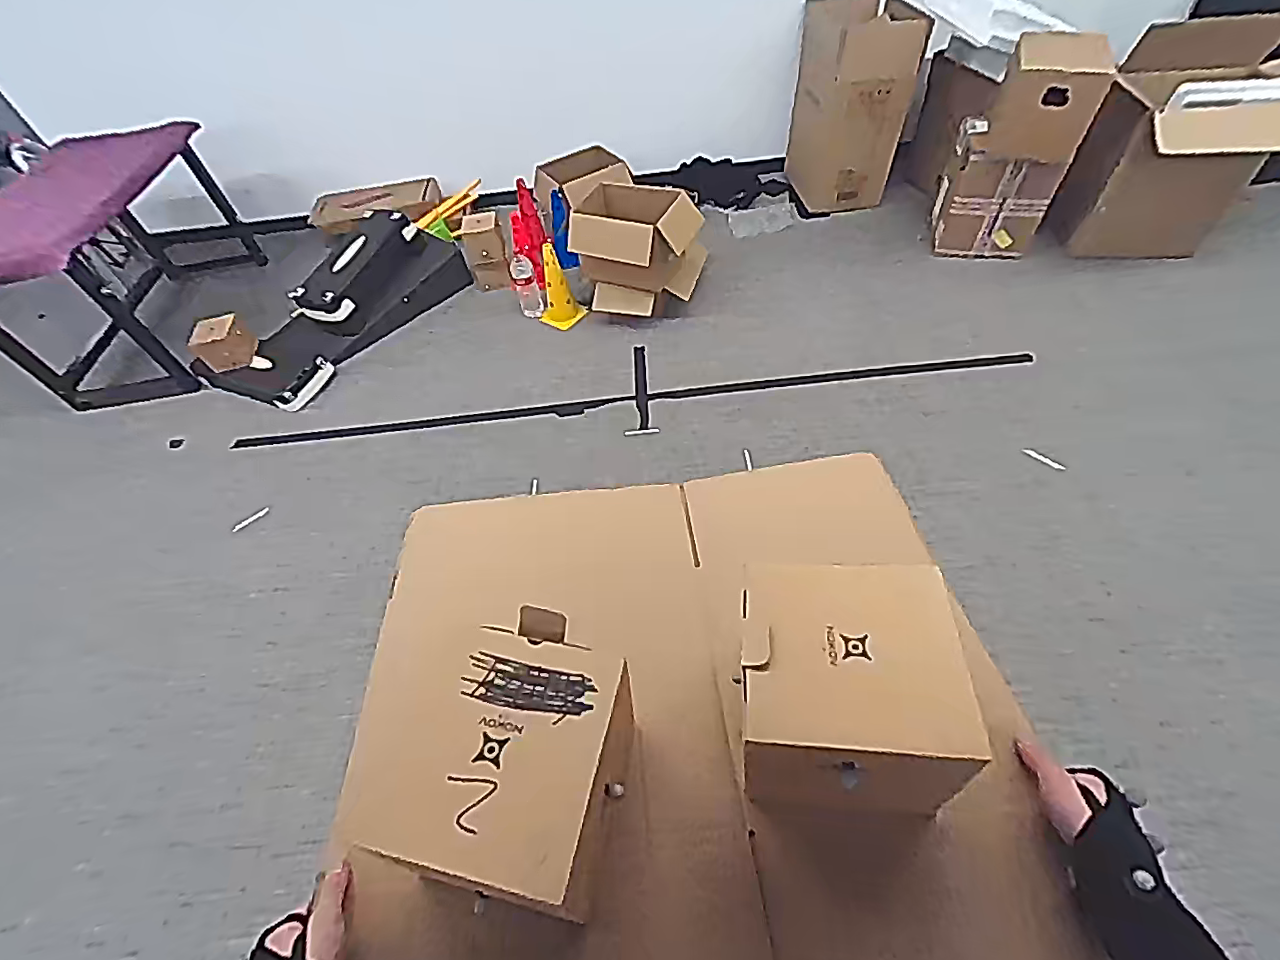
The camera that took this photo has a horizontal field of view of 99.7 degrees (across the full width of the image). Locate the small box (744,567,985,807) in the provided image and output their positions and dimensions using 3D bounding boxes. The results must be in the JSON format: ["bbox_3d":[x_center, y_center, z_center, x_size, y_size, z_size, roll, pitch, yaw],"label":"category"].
[{"bbox_3d":[0.191,0.200,0.520,0.179,0.176,0.168,-1,48,12],"label":"small box"}]
